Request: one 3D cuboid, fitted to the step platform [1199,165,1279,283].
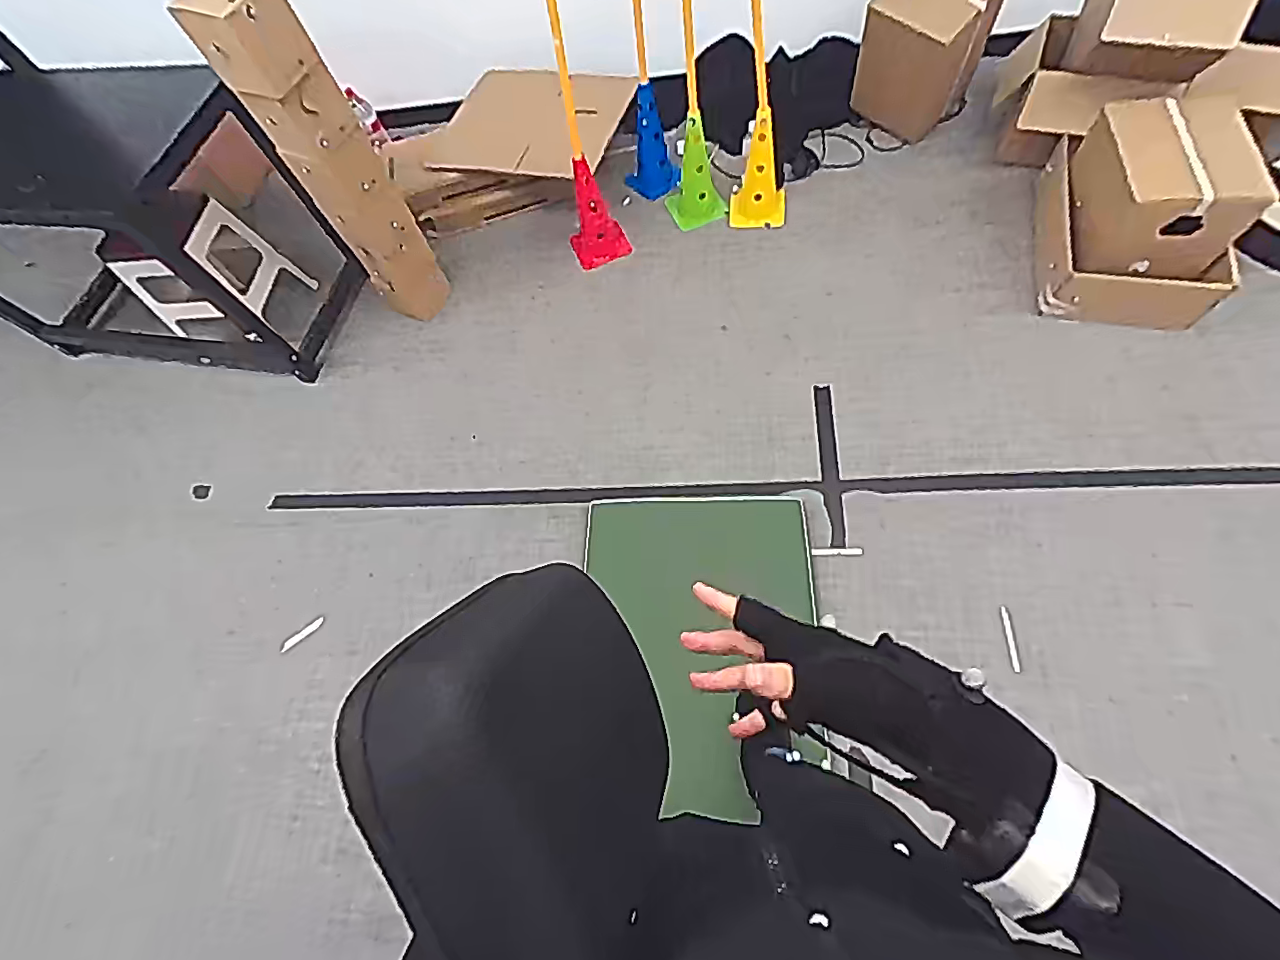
[{"bbox_3d":[2.131,-0.875,1.637,0.684,0.204,0.286,-28,64,-5],"label":"step platform"}]
